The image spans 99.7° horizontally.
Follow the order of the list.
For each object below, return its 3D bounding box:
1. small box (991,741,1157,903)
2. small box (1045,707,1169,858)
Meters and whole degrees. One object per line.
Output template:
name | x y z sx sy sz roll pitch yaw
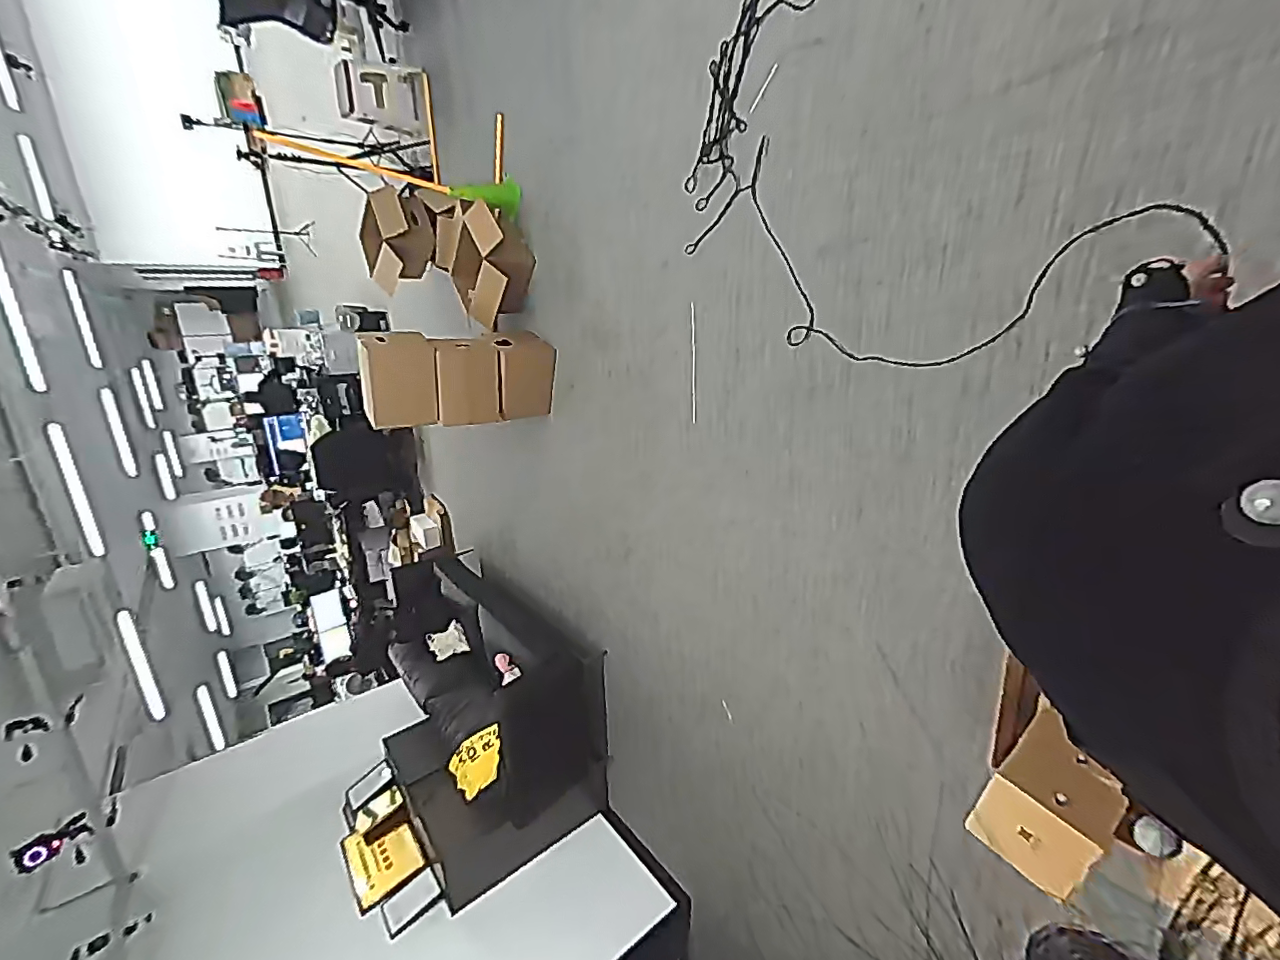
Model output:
small box | 0.822 0.631 1.028 0.179 0.176 0.168 33 126 44
small box | 0.957 0.611 1.118 0.168 0.176 0.179 13 112 51
